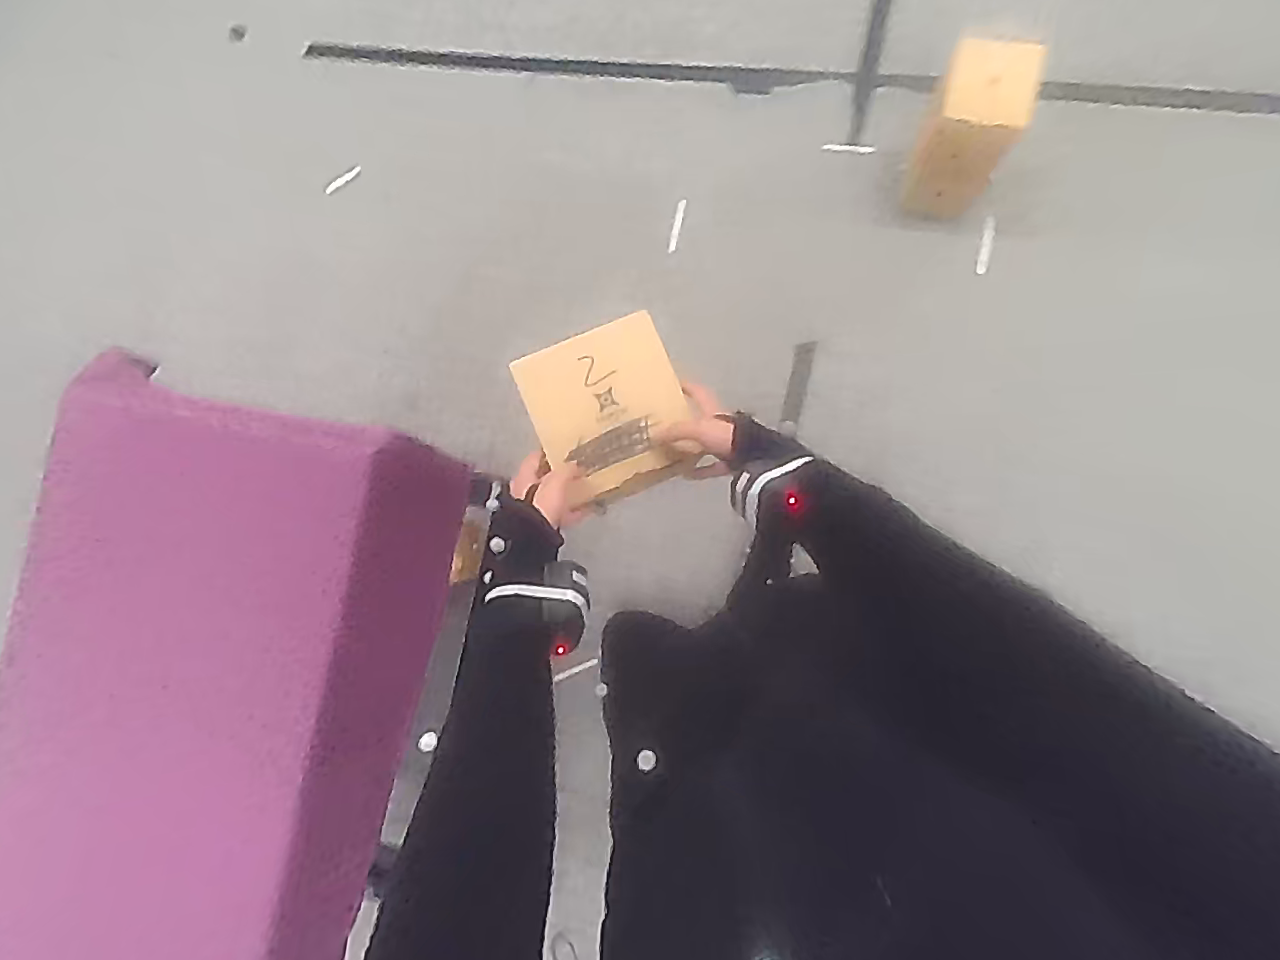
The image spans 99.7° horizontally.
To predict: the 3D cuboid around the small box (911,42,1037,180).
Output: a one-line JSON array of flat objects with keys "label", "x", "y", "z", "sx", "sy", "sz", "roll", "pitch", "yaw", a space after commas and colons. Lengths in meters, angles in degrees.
[{"label": "small box", "x": 0.713, "y": -0.791, "z": 1.173, "sx": 0.168, "sy": 0.176, "sz": 0.179, "roll": 13, "pitch": 90, "yaw": 10}]
